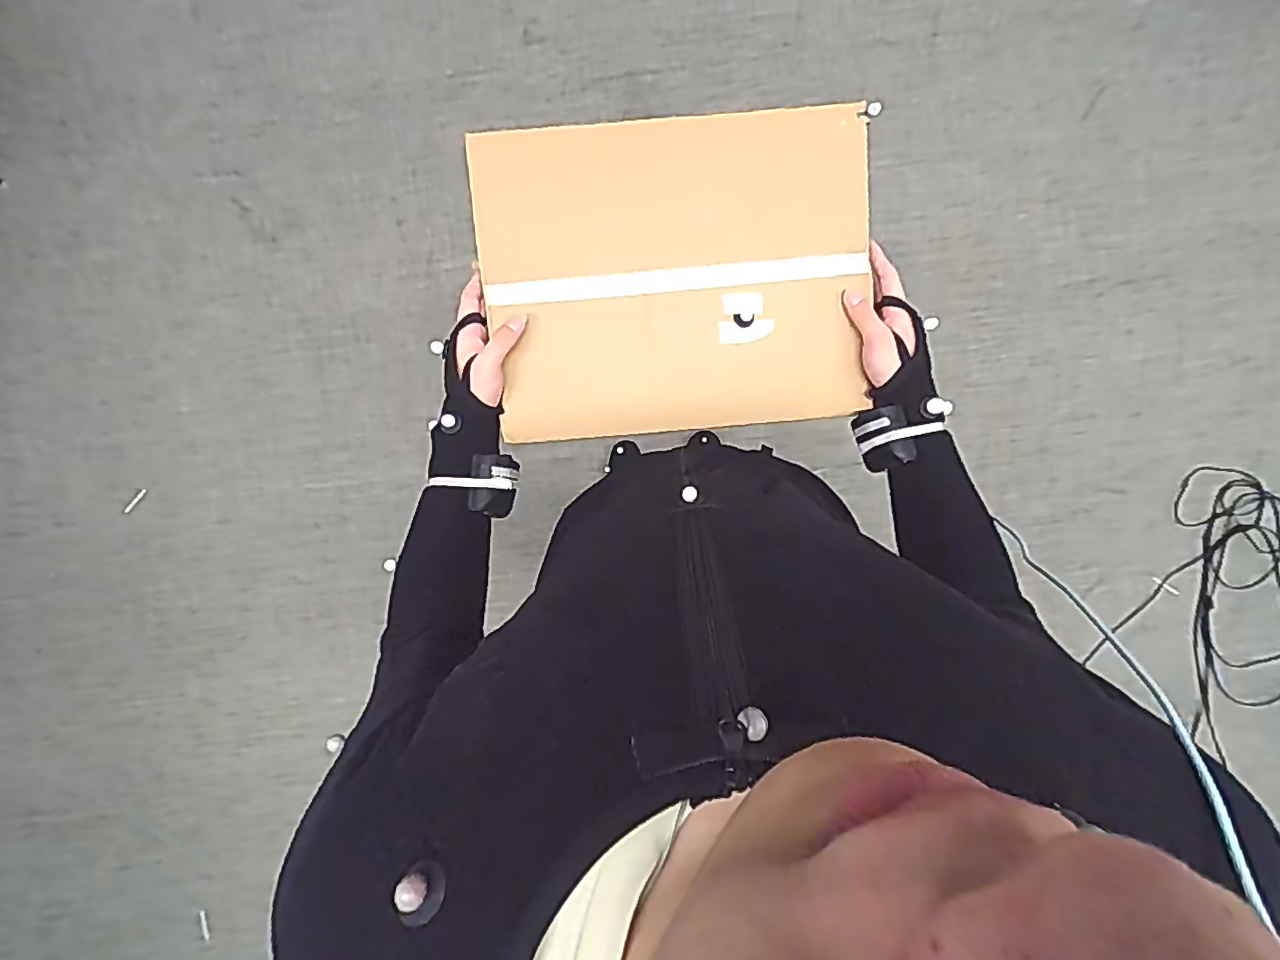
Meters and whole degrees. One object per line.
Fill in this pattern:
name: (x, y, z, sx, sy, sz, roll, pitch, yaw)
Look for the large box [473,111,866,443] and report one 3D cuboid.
large box: (0.033, -0.230, 0.723, 0.408, 0.320, 0.320, -5, 98, -1)
